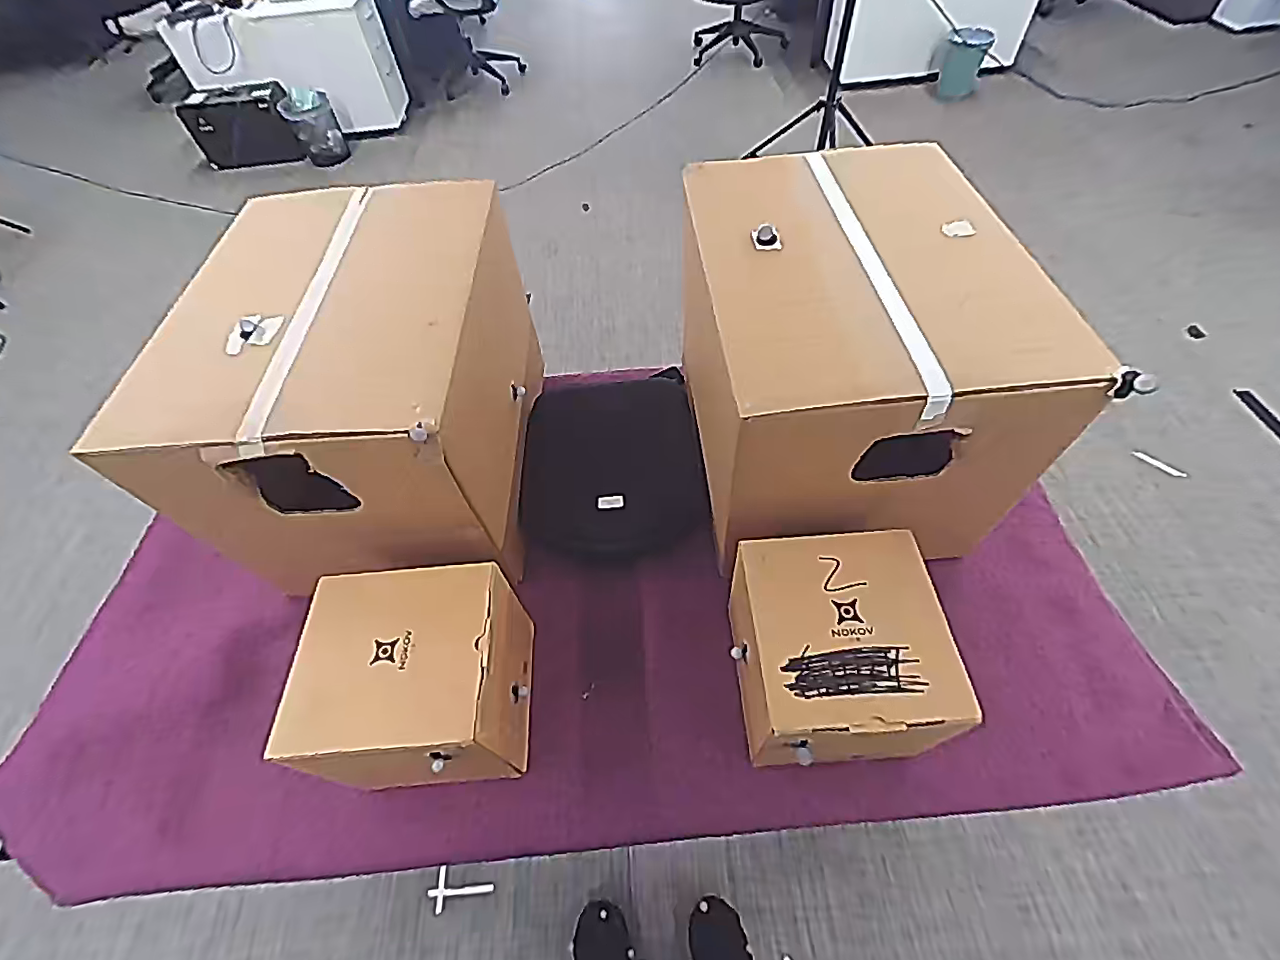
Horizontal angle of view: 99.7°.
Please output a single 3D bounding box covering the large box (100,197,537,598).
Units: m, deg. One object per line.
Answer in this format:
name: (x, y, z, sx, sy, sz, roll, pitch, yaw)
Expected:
large box: (-0.320, -0.098, 0.694, 0.320, 0.320, 0.408, -4, 57, 2)
